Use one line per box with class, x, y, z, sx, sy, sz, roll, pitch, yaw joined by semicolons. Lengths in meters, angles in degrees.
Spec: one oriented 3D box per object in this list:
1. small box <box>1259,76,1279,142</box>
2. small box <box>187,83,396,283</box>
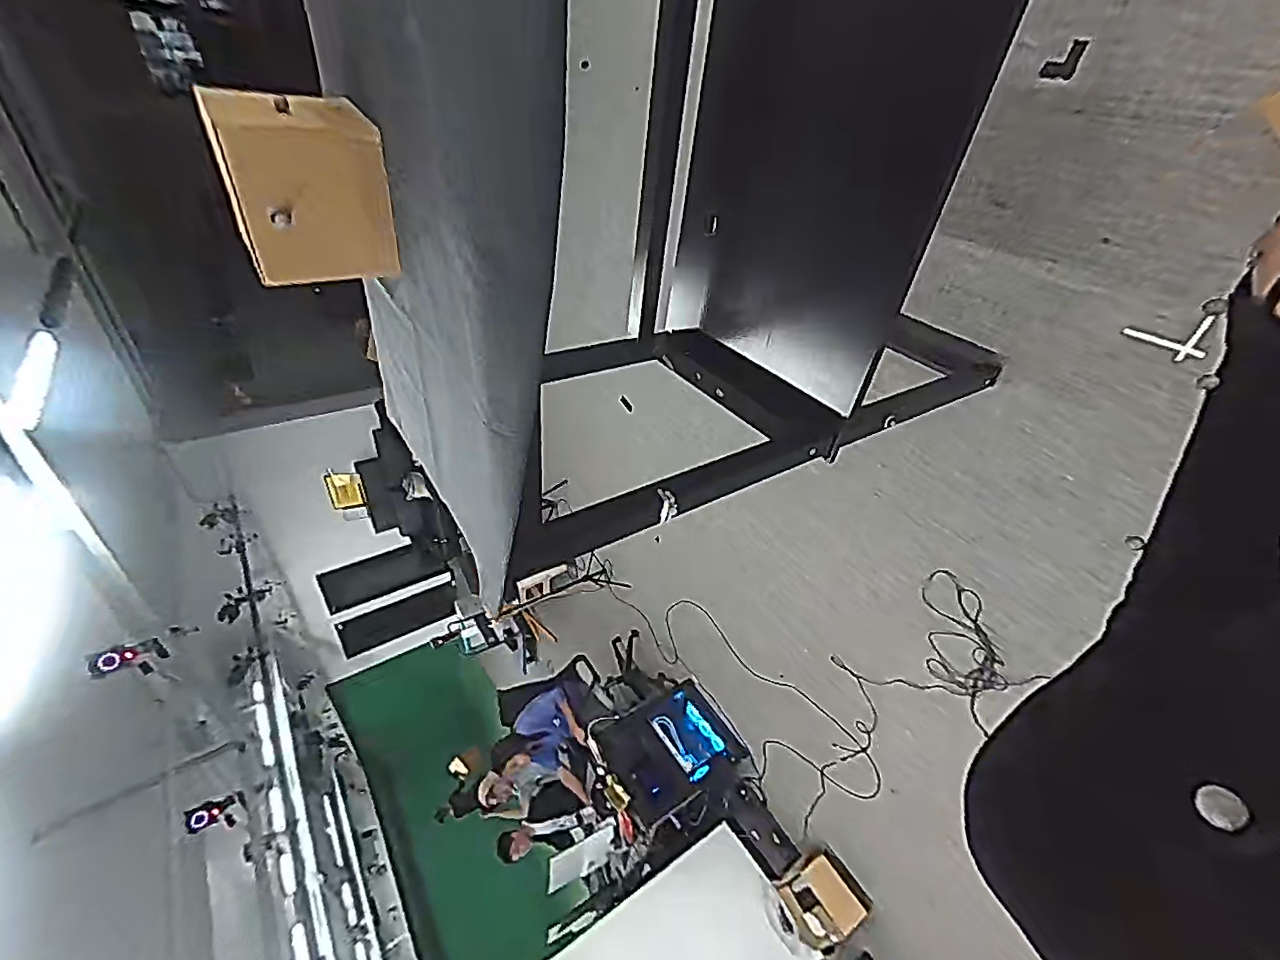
small box;0.651;-0.278;0.421;0.168;0.176;0.179;-34;64;53
small box;-0.431;-0.378;0.688;0.168;0.176;0.179;48;144;33
